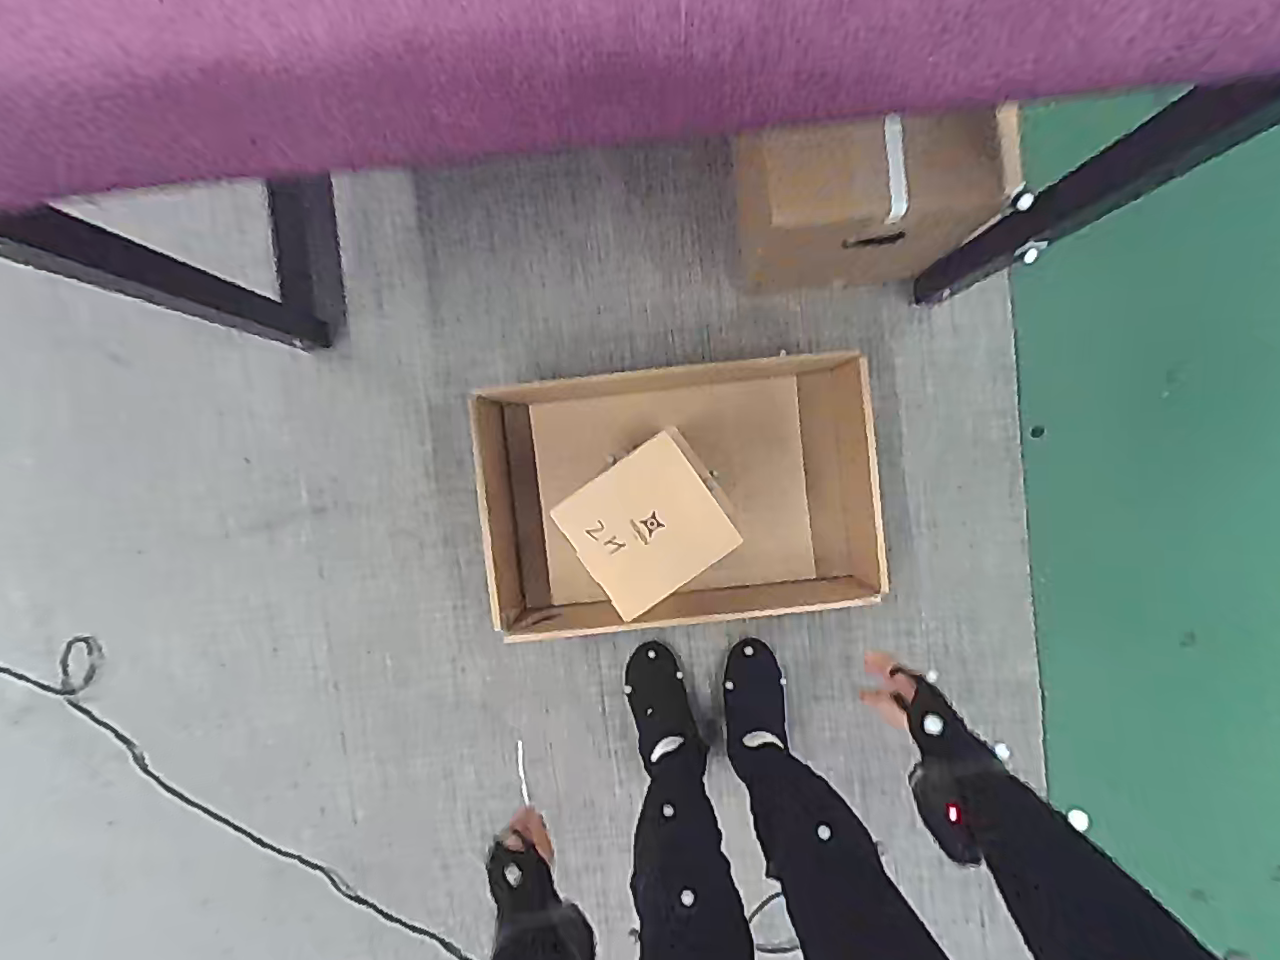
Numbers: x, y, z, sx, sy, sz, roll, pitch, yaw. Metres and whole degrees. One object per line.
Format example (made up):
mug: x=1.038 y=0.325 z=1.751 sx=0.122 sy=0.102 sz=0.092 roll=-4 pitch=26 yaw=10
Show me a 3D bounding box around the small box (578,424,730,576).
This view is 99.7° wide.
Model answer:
small box: x=0.024 y=0.028 z=0.885 sx=0.179 sy=0.176 sz=0.168 roll=-36 pitch=91 yaw=2
